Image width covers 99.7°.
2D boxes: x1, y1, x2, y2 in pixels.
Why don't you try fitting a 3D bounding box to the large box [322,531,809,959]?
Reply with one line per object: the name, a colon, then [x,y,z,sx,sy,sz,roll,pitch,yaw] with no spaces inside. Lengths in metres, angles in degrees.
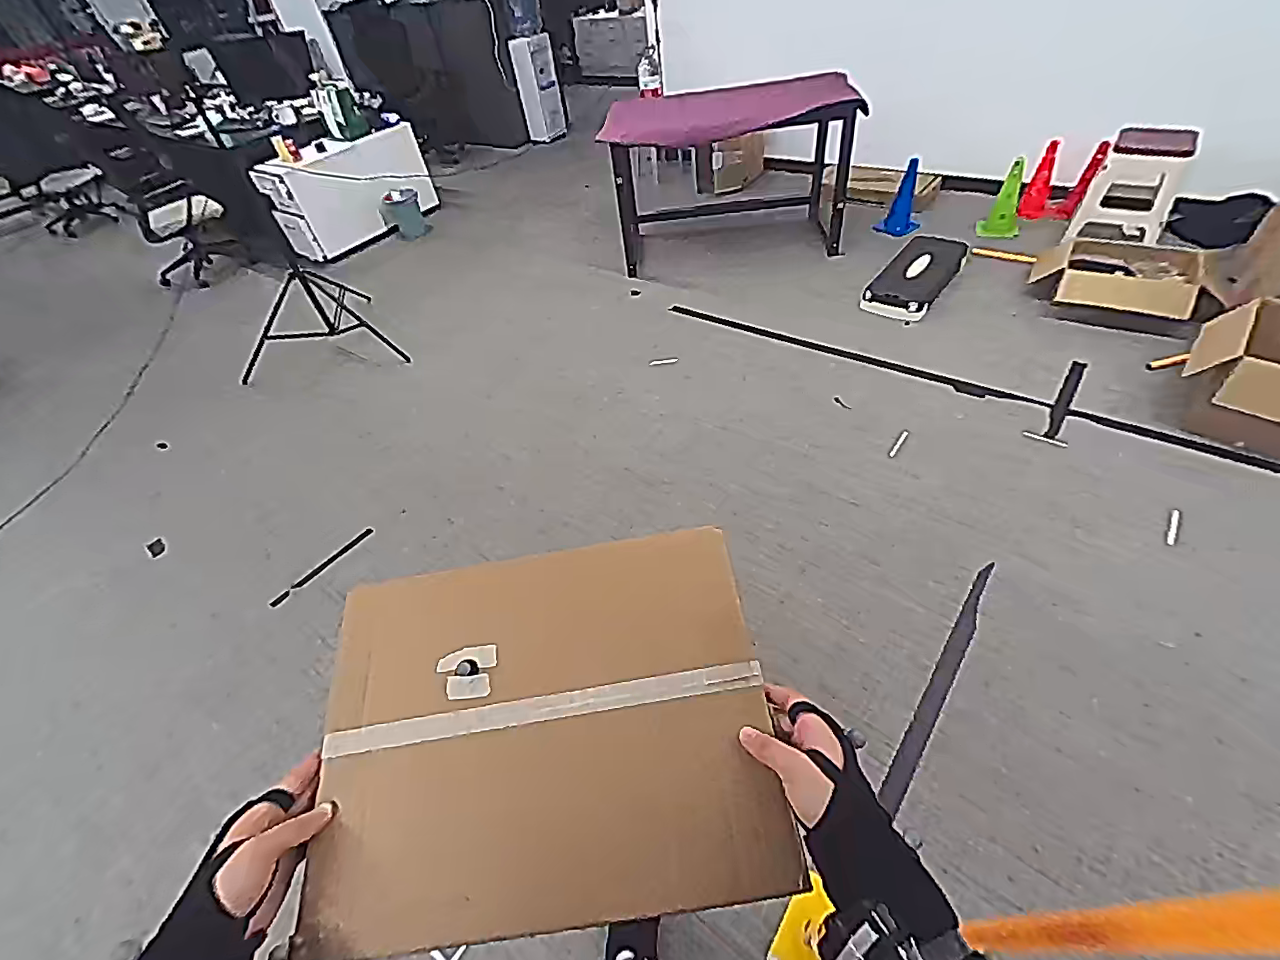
large box: [-0.063,0.298,0.631,0.408,0.320,0.320,-11,55,2]
